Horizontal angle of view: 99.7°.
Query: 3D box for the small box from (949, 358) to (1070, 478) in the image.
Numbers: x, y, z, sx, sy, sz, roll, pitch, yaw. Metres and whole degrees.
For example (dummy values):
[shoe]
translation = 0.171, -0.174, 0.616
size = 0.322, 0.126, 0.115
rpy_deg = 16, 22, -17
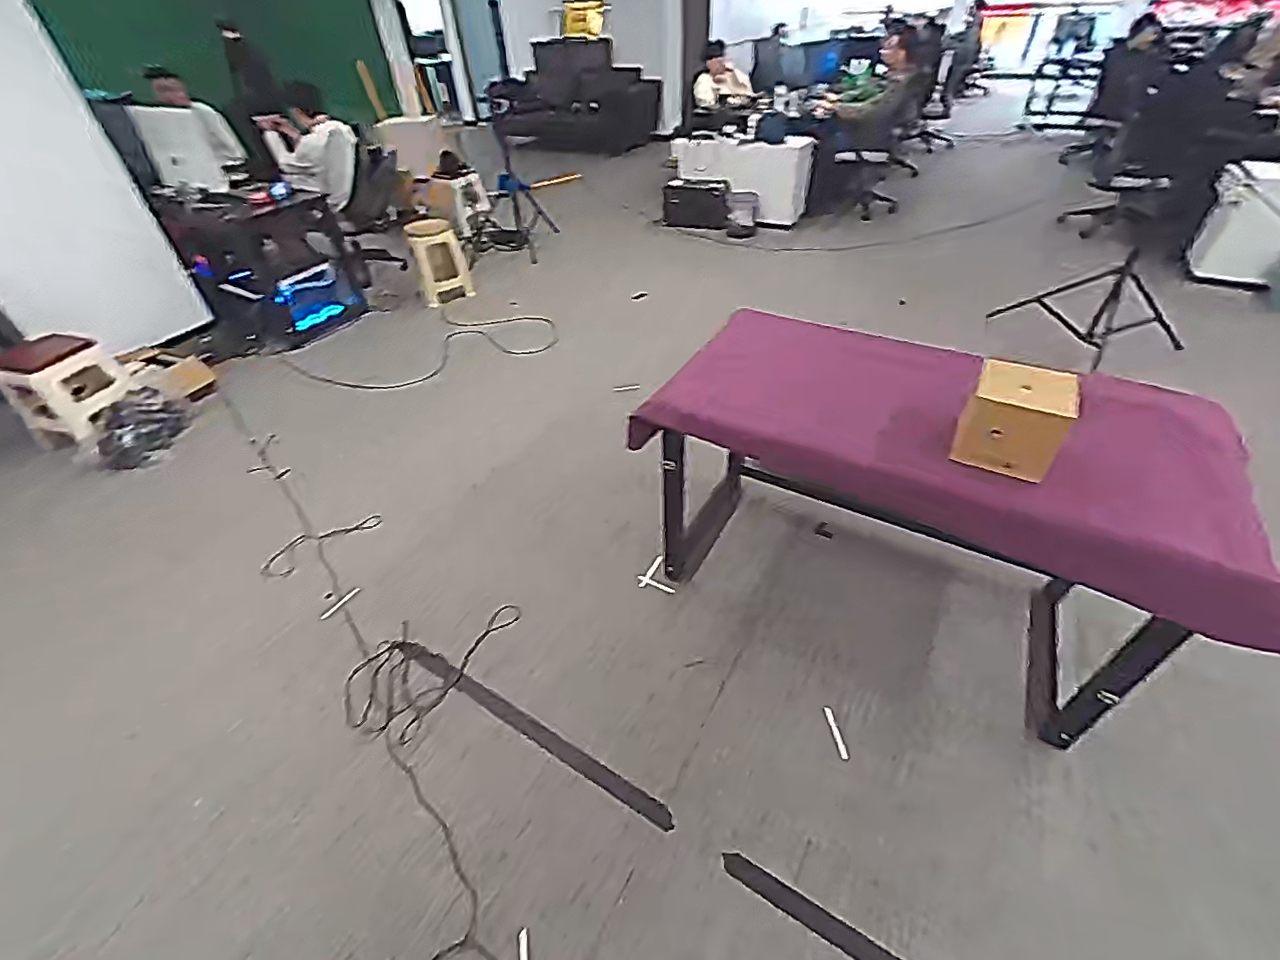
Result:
[small box]
translation = 0.773, -0.130, 1.140
size = 0.168, 0.176, 0.179
rpy_deg = 19, 46, 24
